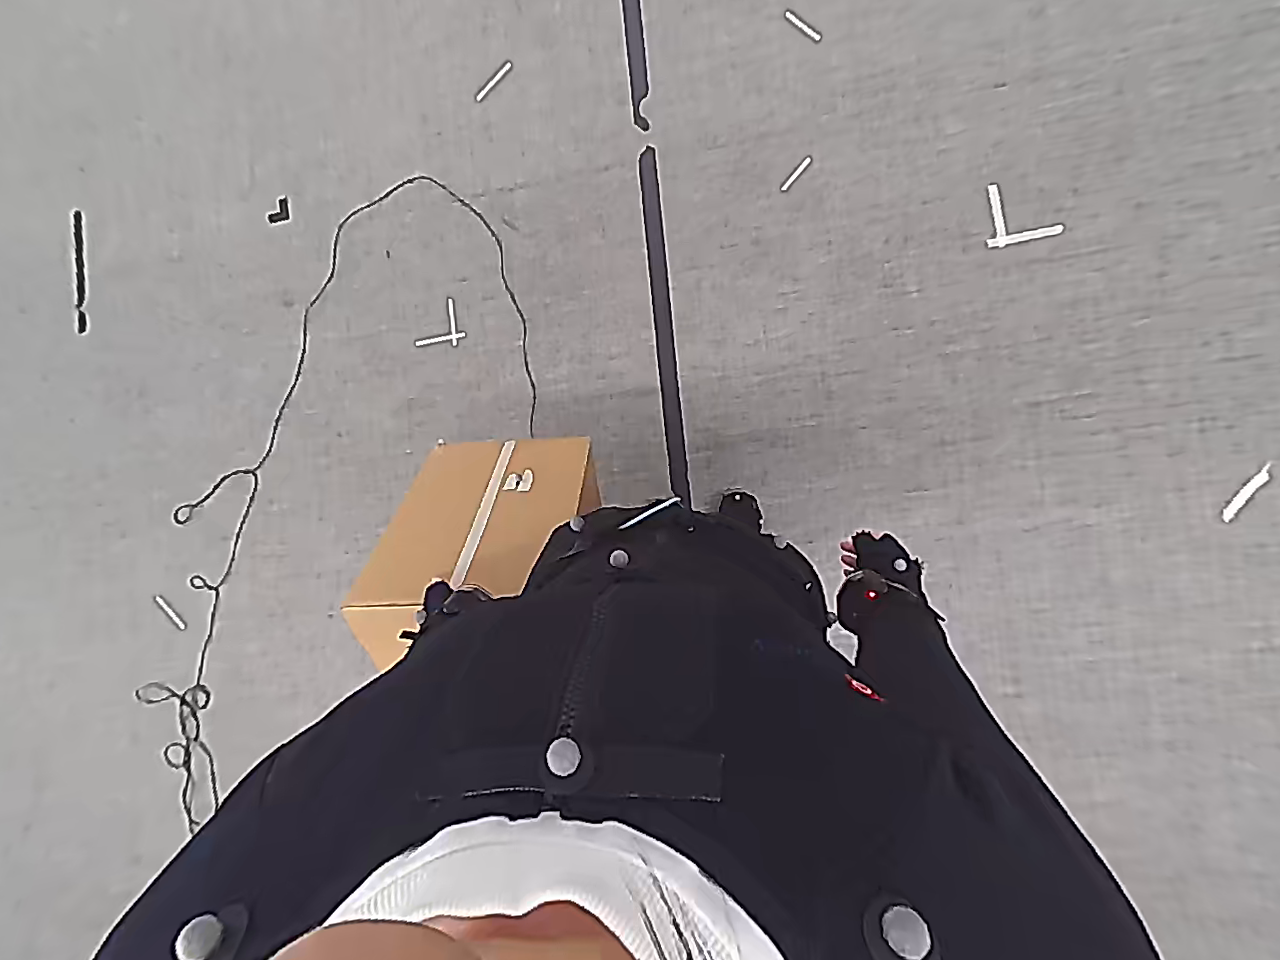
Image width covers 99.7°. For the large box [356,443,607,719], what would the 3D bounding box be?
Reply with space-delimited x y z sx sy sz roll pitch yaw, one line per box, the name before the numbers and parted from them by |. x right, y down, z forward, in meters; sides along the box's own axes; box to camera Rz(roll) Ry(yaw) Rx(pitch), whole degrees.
large box | -0.239 0.173 0.997 0.320 0.408 0.320 -1 127 3
